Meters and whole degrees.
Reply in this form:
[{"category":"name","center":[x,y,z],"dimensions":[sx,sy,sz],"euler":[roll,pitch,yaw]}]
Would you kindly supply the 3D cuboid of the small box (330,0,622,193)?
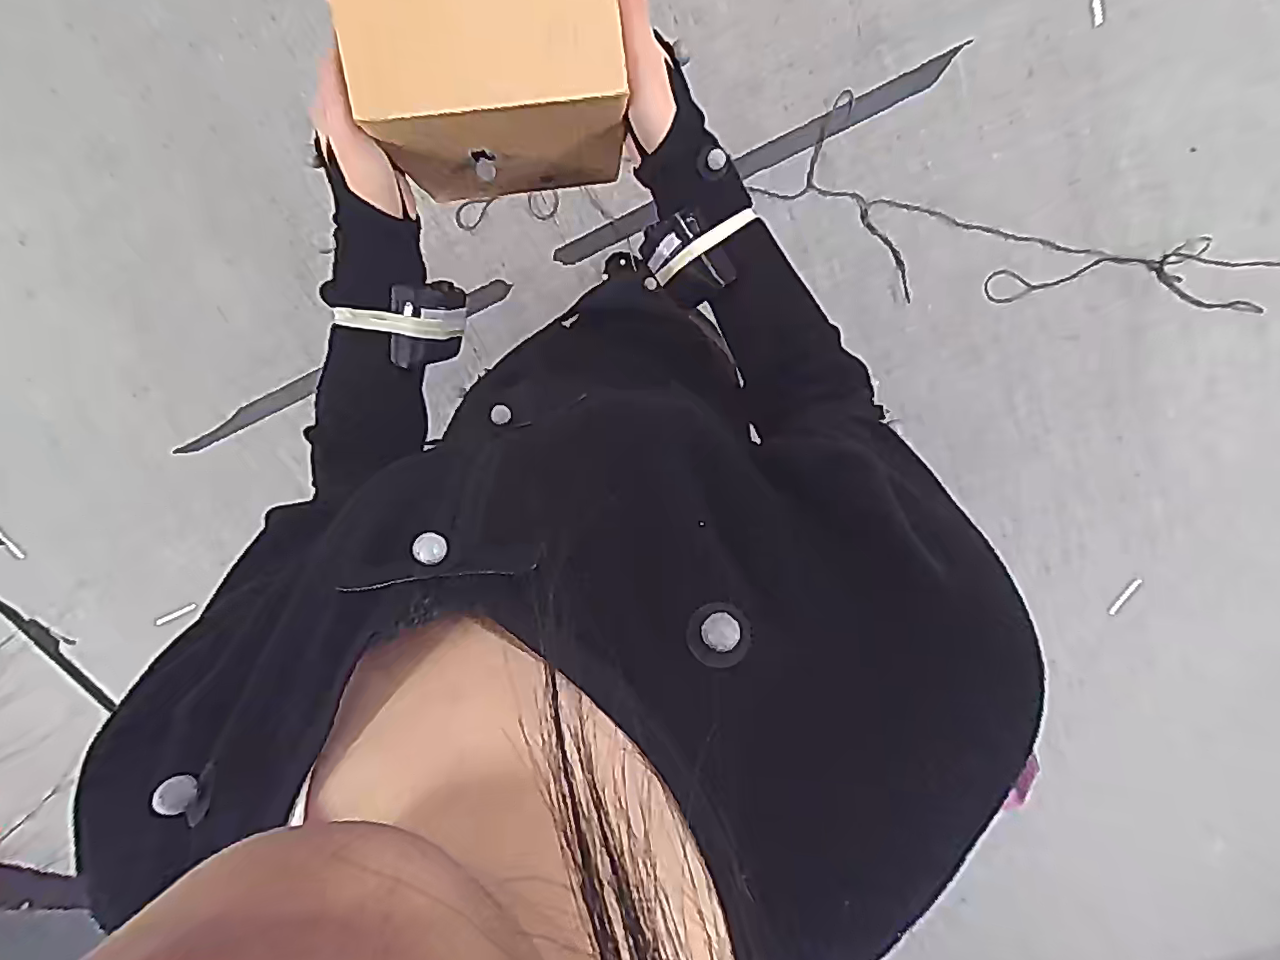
[{"category":"small box","center":[-0.104,-0.322,0.384],"dimensions":[0.168,0.176,0.179],"euler":[-8,102,-3]}]
